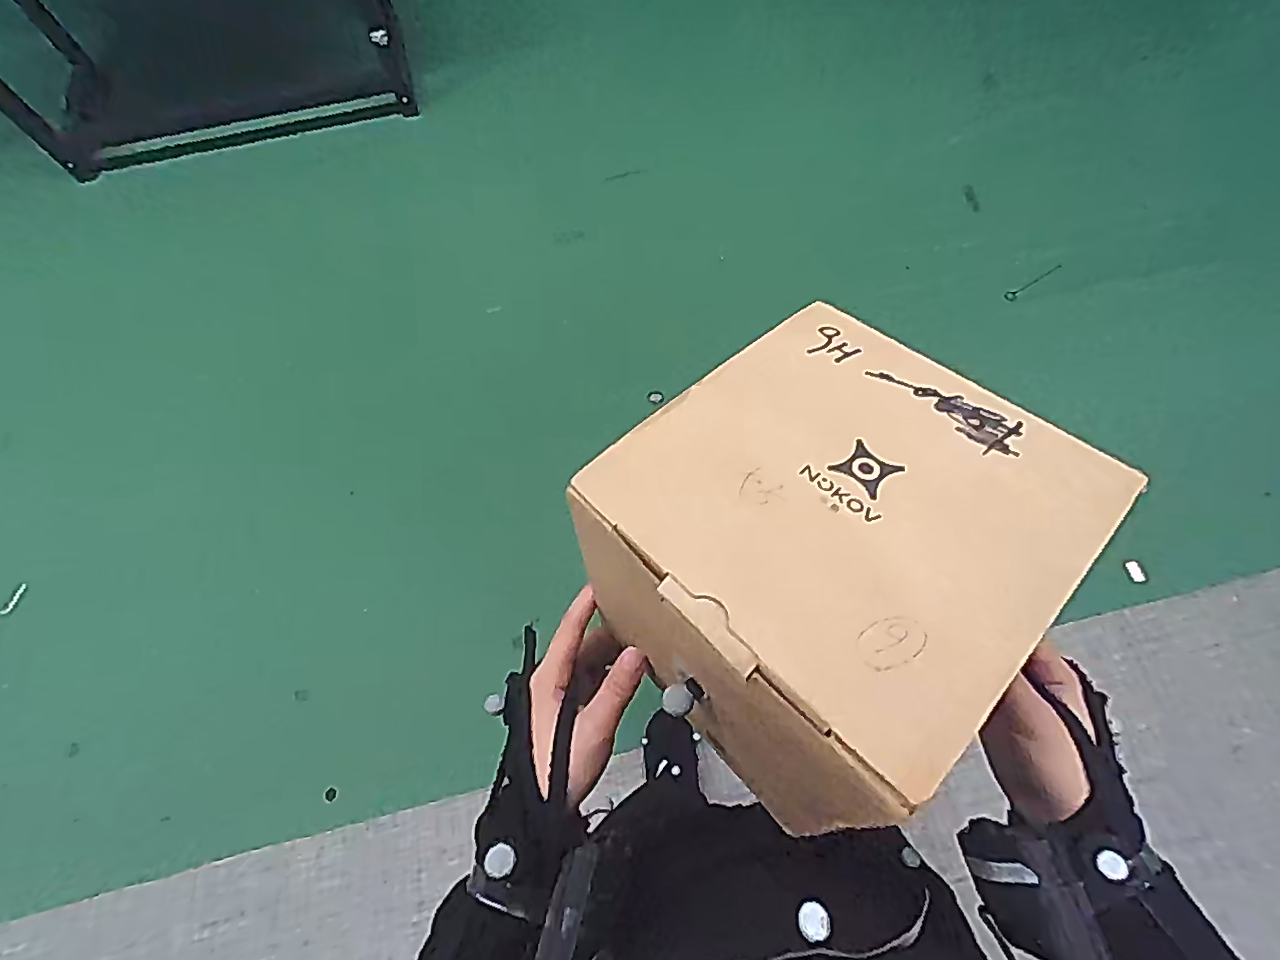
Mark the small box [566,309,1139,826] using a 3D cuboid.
[{"bbox_3d":[0.089,0.050,0.288,0.179,0.176,0.168,-37,61,-21],"label":"small box"}]
